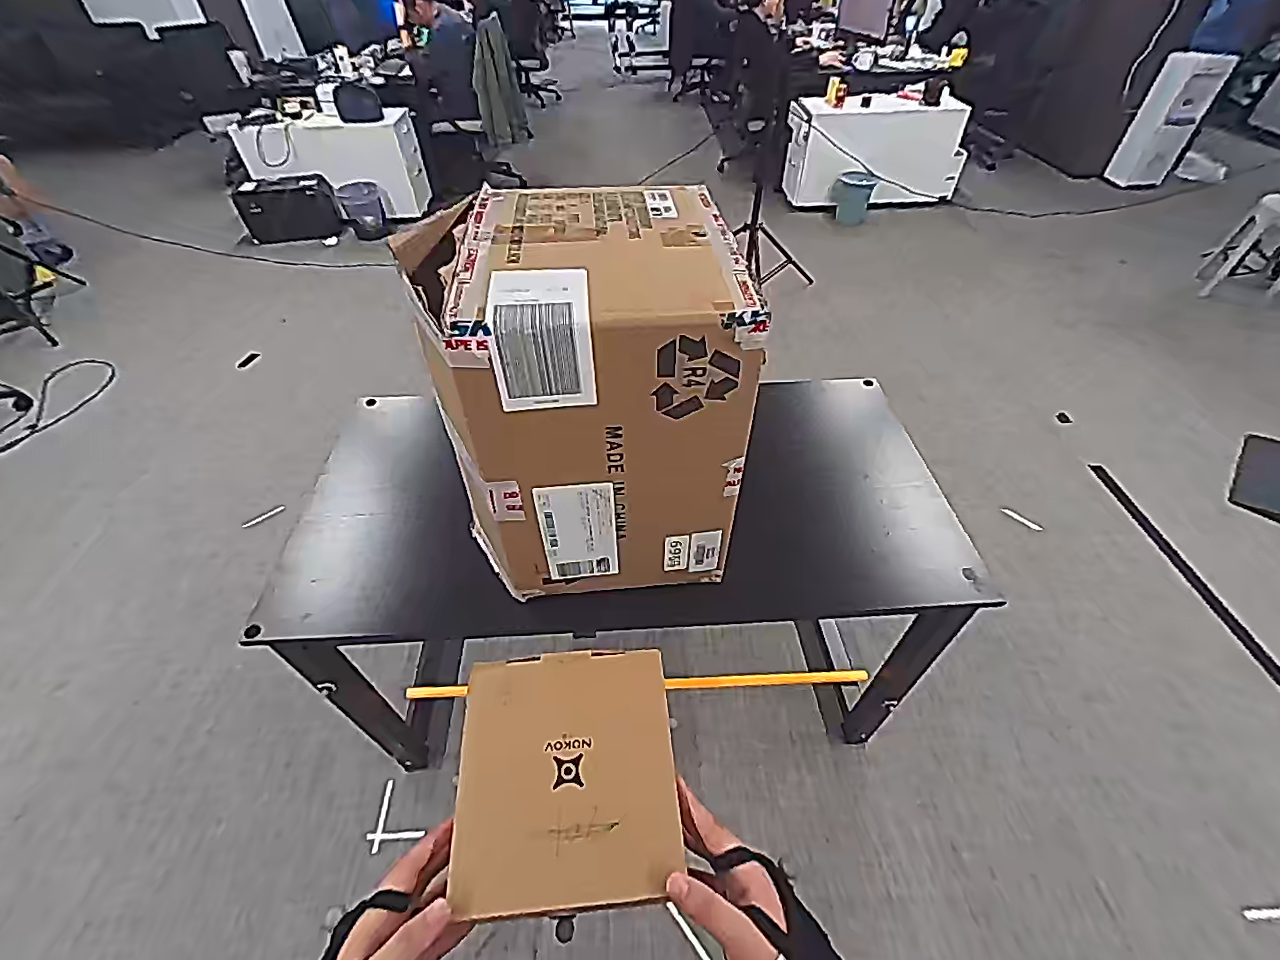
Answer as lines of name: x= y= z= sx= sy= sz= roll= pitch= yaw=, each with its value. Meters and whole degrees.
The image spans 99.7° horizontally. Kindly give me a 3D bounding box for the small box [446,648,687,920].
small box: x=-0.058 y=0.269 z=0.478 sx=0.168 sy=0.176 sz=0.179 roll=-3 pitch=51 yaw=-5
